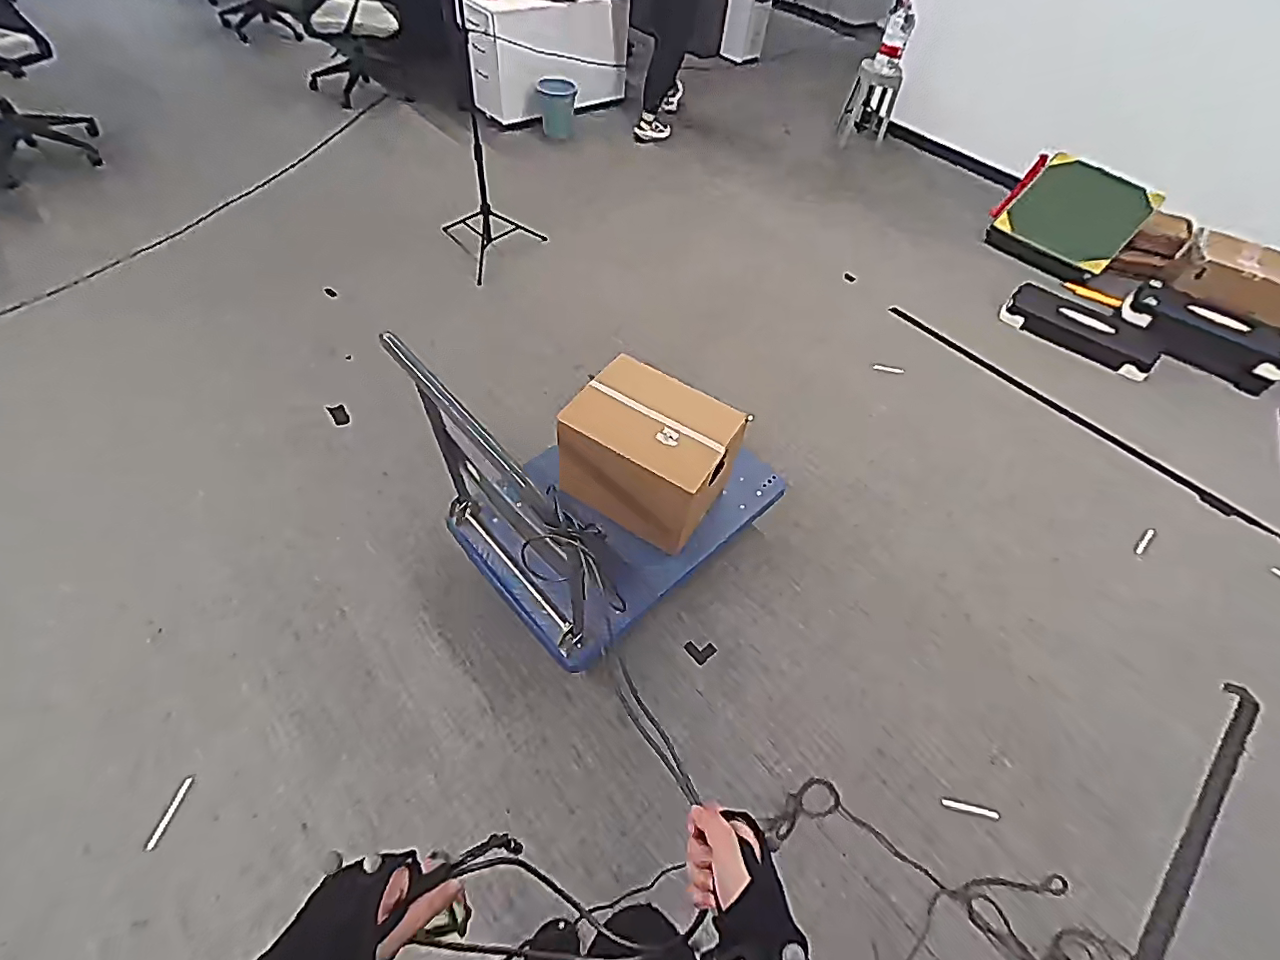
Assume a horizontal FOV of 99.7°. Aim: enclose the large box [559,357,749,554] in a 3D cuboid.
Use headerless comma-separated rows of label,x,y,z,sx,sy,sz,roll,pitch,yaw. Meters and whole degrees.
large box,0.023,-0.068,1.496,0.408,0.320,0.320,30,57,14
